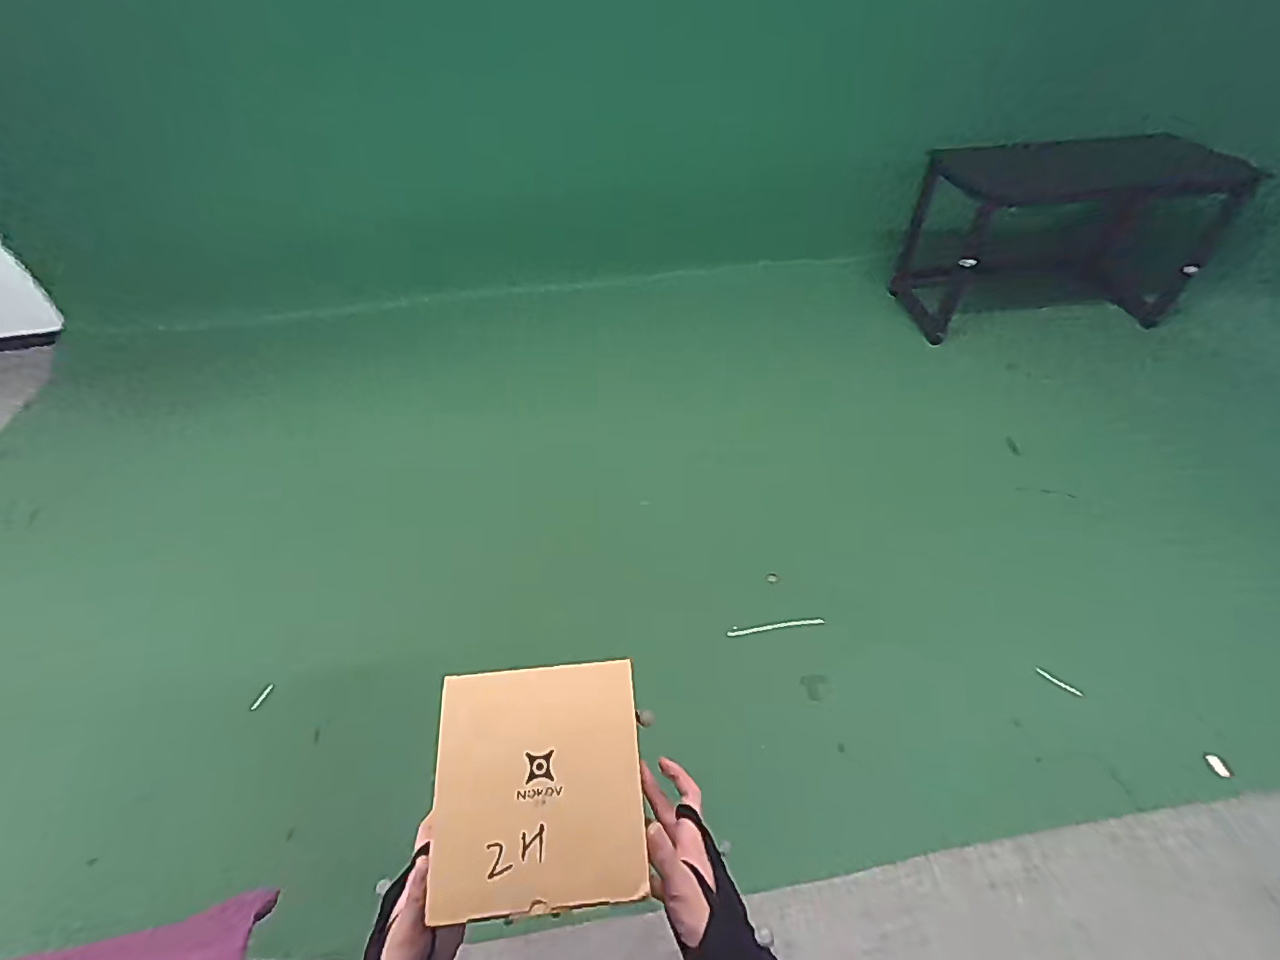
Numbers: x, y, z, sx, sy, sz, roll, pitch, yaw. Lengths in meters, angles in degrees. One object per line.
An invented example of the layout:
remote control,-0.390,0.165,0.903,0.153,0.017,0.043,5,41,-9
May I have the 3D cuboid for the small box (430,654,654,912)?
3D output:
small box,-0.078,0.275,0.505,0.168,0.176,0.179,-4,60,-2
